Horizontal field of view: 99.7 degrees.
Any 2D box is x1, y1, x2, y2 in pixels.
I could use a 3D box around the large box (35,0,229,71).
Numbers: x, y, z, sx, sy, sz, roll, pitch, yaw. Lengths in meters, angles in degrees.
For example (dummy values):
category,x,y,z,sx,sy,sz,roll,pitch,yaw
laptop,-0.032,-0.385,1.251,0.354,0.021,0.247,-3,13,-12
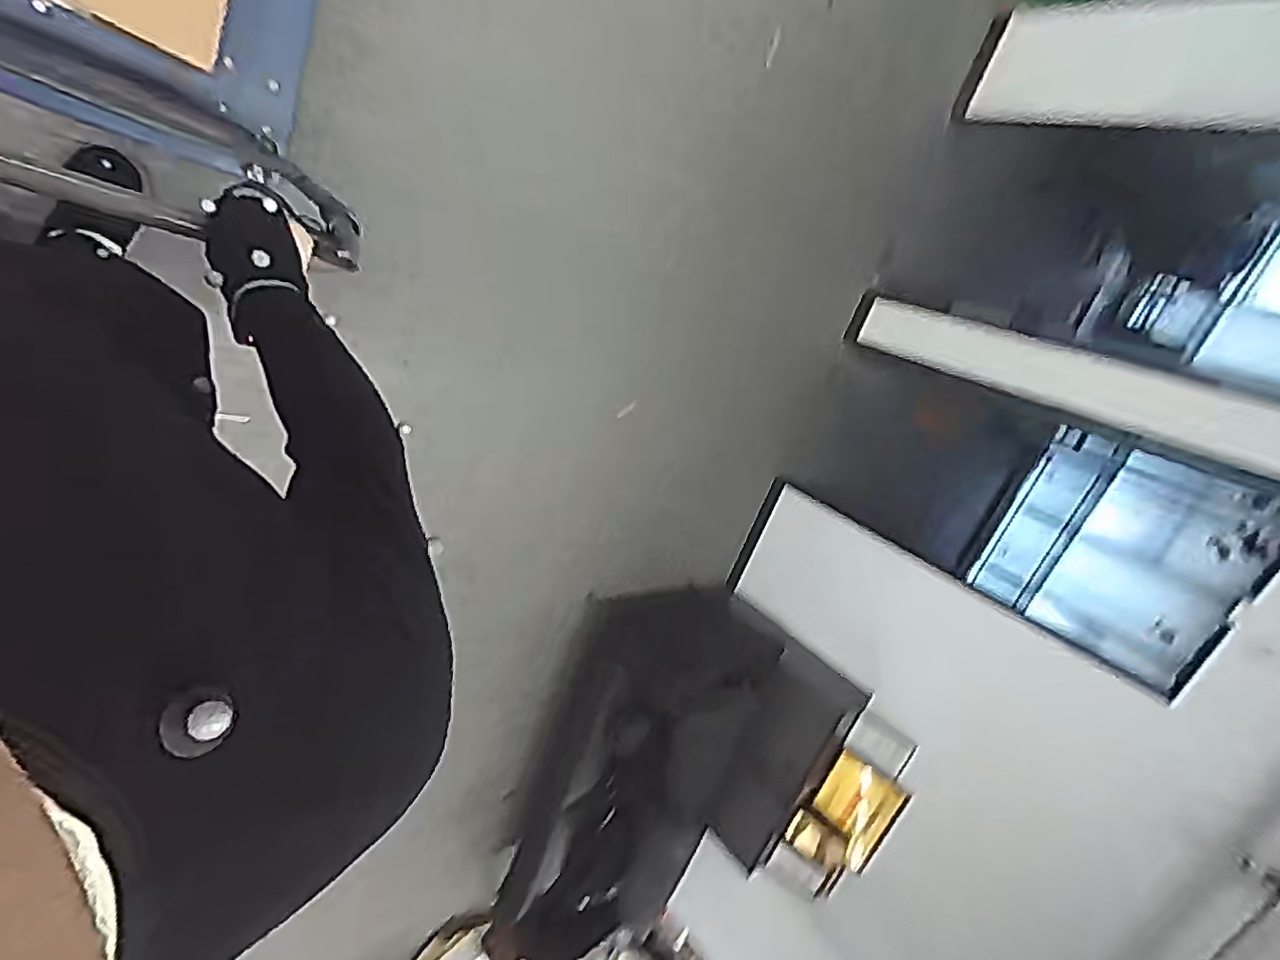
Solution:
category,x,y,z,sx,sy,sz,roll,pitch,yaw
large box,-0.728,-0.836,0.700,0.320,0.320,0.408,7,113,-49
